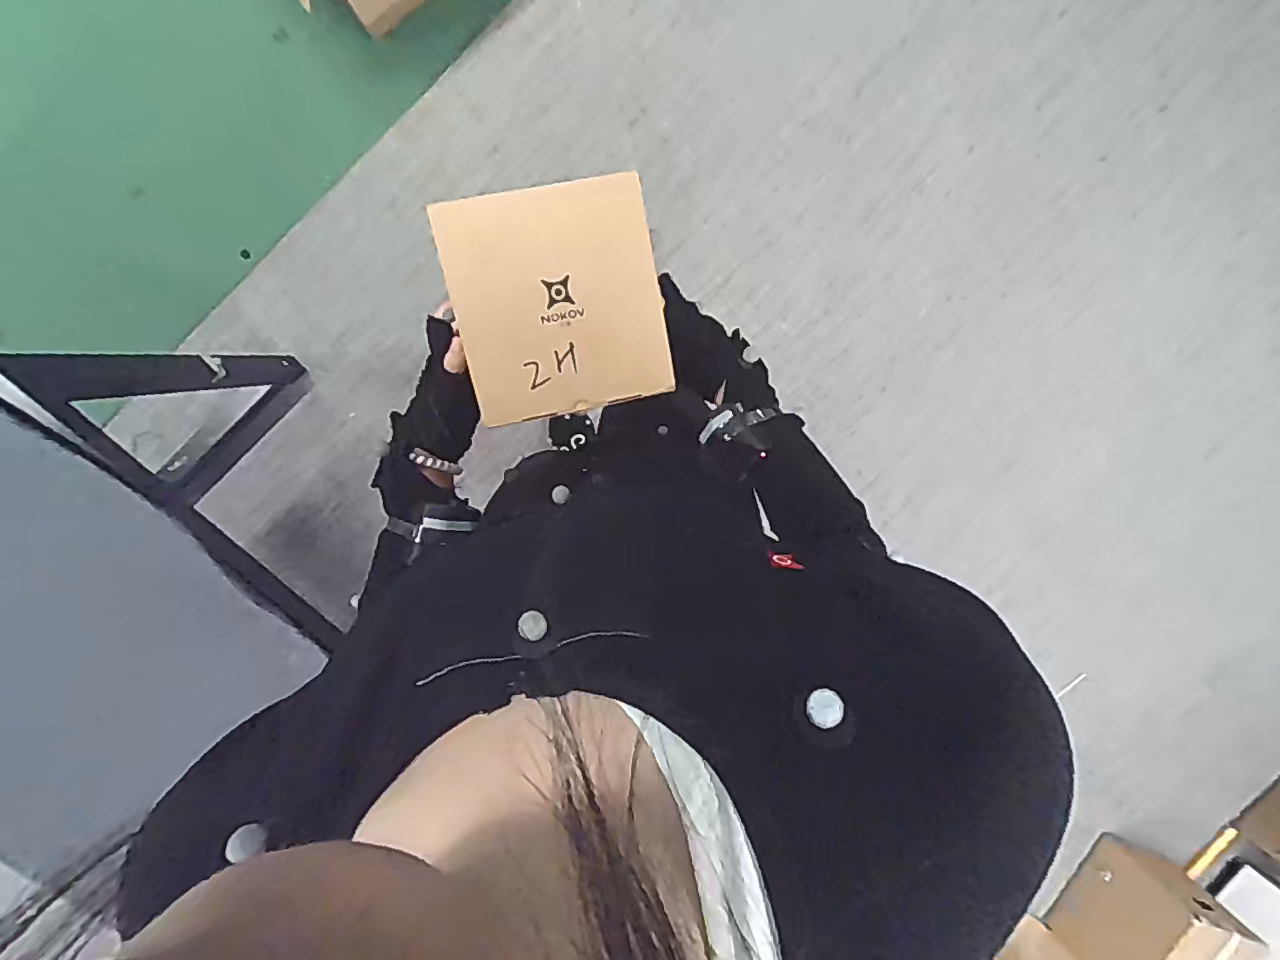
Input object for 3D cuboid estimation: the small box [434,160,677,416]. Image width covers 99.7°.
[{"bbox_3d":[-0.074,-0.166,0.505,0.168,0.176,0.179,-12,104,-6],"label":"small box"}]
